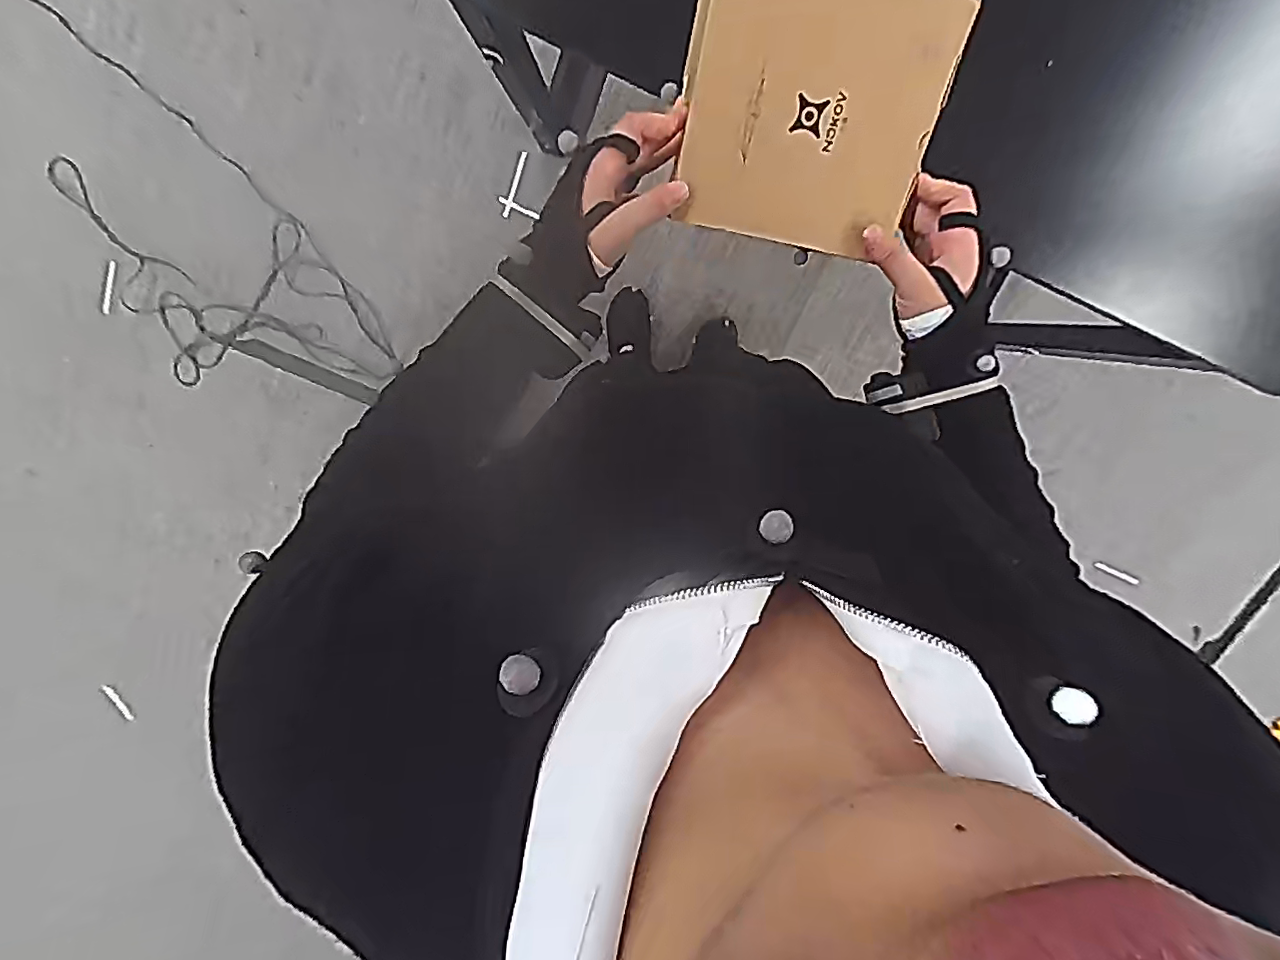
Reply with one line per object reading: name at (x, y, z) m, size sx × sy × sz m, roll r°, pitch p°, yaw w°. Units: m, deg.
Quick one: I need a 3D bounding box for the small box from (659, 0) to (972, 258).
small box at (0.117, -0.293, 0.449) m, size 0.179 × 0.176 × 0.168 m, roll 9°, pitch 116°, yaw -5°
